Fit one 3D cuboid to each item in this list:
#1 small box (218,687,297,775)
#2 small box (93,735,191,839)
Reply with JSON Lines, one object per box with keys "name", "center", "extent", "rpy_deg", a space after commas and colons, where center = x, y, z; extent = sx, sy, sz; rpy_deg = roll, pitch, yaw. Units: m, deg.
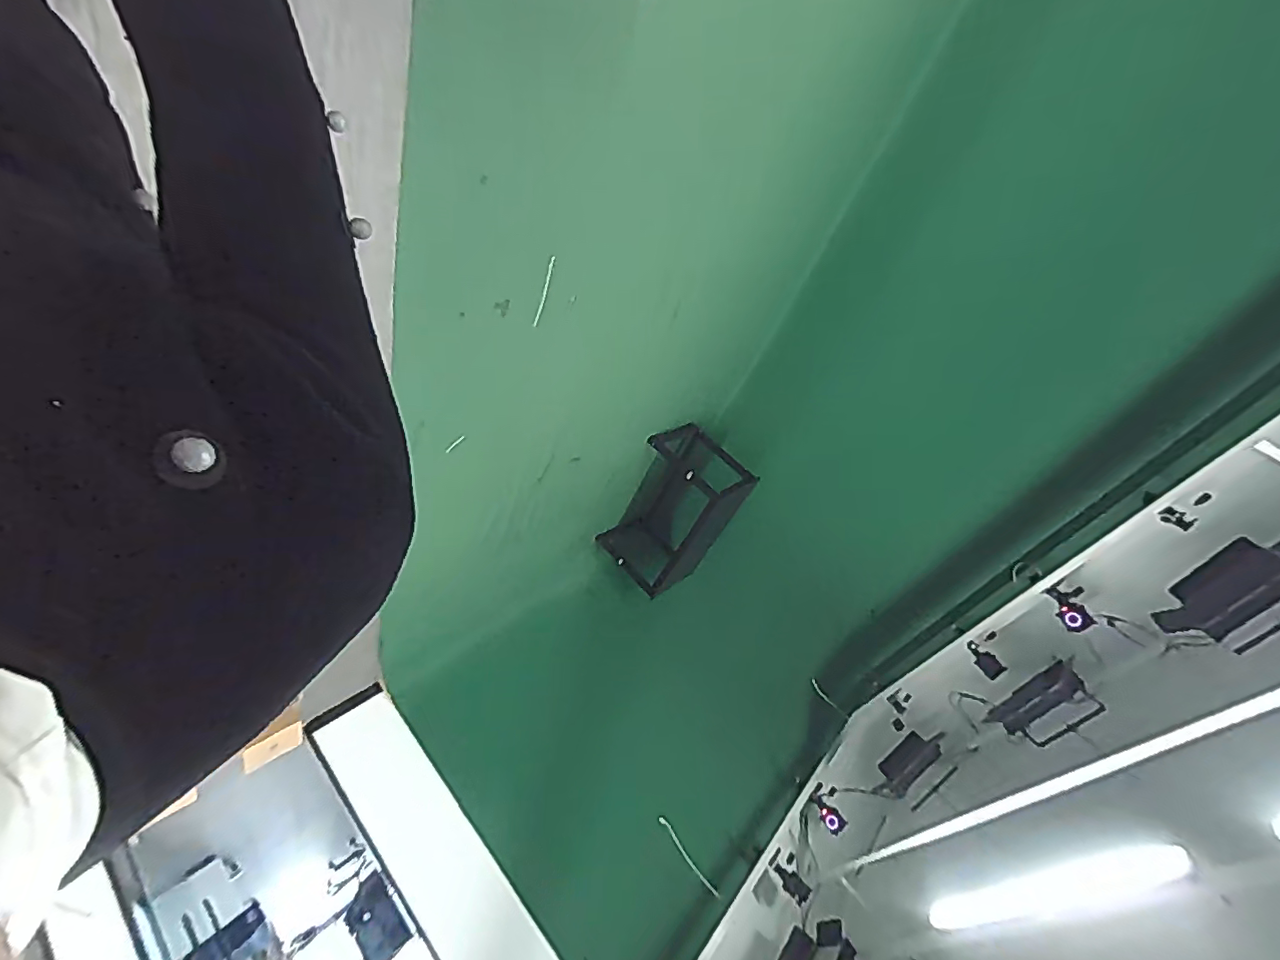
{"name": "small box", "center": [-1.241, 0.804, 1.756], "extent": [0.168, 0.176, 0.179], "rpy_deg": [-22, 148, -47]}
{"name": "small box", "center": [-1.415, 0.865, 1.540], "extent": [0.168, 0.176, 0.179], "rpy_deg": [-20, 149, -50]}
